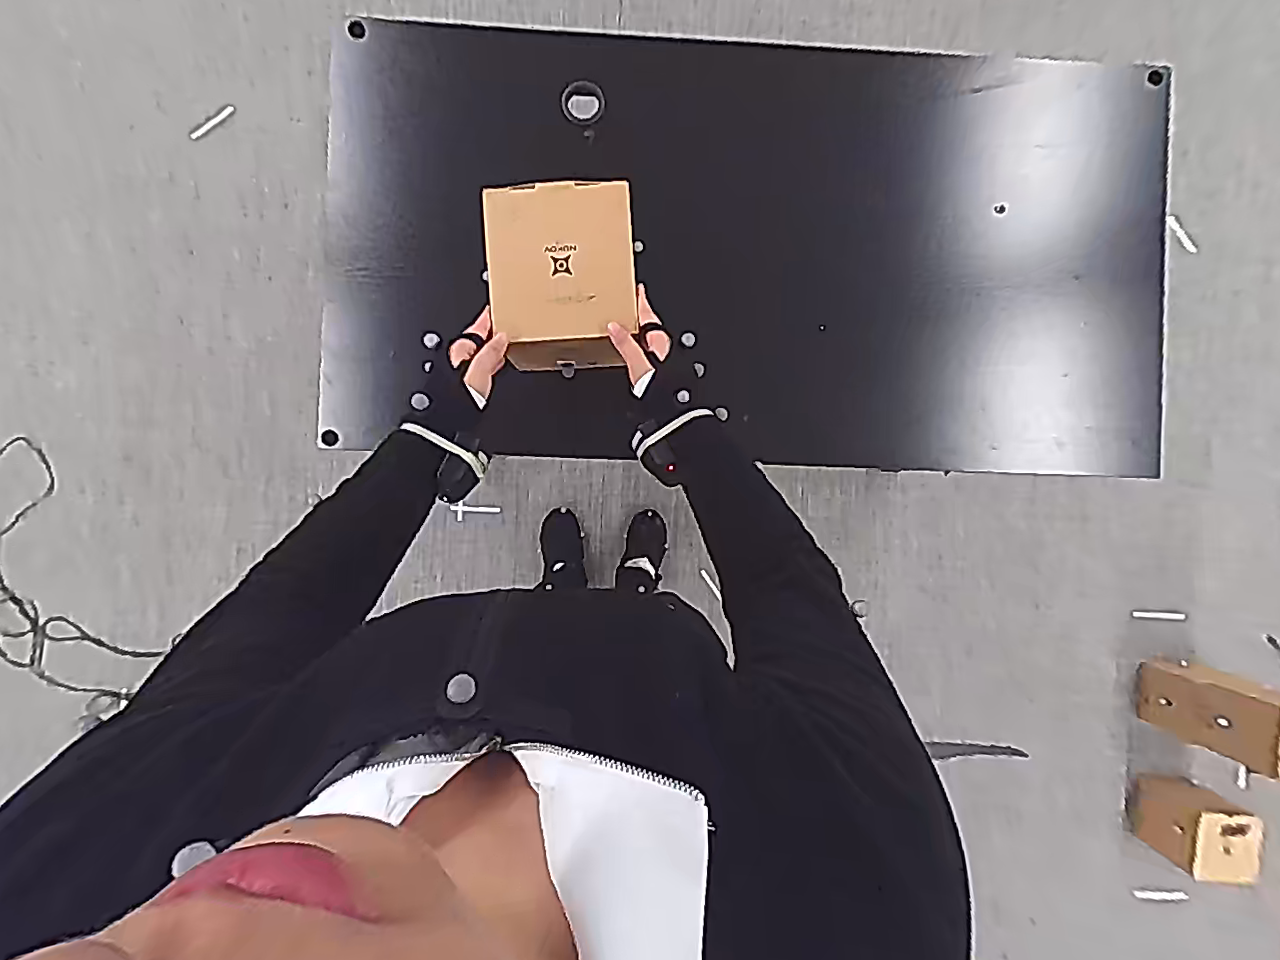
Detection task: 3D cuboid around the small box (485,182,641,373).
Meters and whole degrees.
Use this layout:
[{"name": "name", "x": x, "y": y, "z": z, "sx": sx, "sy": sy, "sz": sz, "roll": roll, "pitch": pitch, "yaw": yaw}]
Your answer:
[{"name": "small box", "x": -0.089, "y": -0.244, "z": 0.685, "sx": 0.168, "sy": 0.176, "sz": 0.179, "roll": -5, "pitch": 91, "yaw": -1}]

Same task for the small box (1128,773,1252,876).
[{"name": "small box", "x": 1.489, "y": 0.930, "z": 1.474, "sx": 0.168, "sy": 0.176, "sz": 0.179, "roll": 6, "pitch": 92, "yaw": -1}]

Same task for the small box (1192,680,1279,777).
[{"name": "small box", "x": 1.510, "y": 0.598, "z": 1.305, "sx": 0.179, "sy": 0.176, "sz": 0.168, "roll": 7, "pitch": 90, "yaw": -2}]

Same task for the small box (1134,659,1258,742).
[{"name": "small box", "x": 1.502, "y": 0.596, "z": 1.471, "sx": 0.179, "sy": 0.176, "sz": 0.168, "roll": 2, "pitch": 90, "yaw": -1}]
